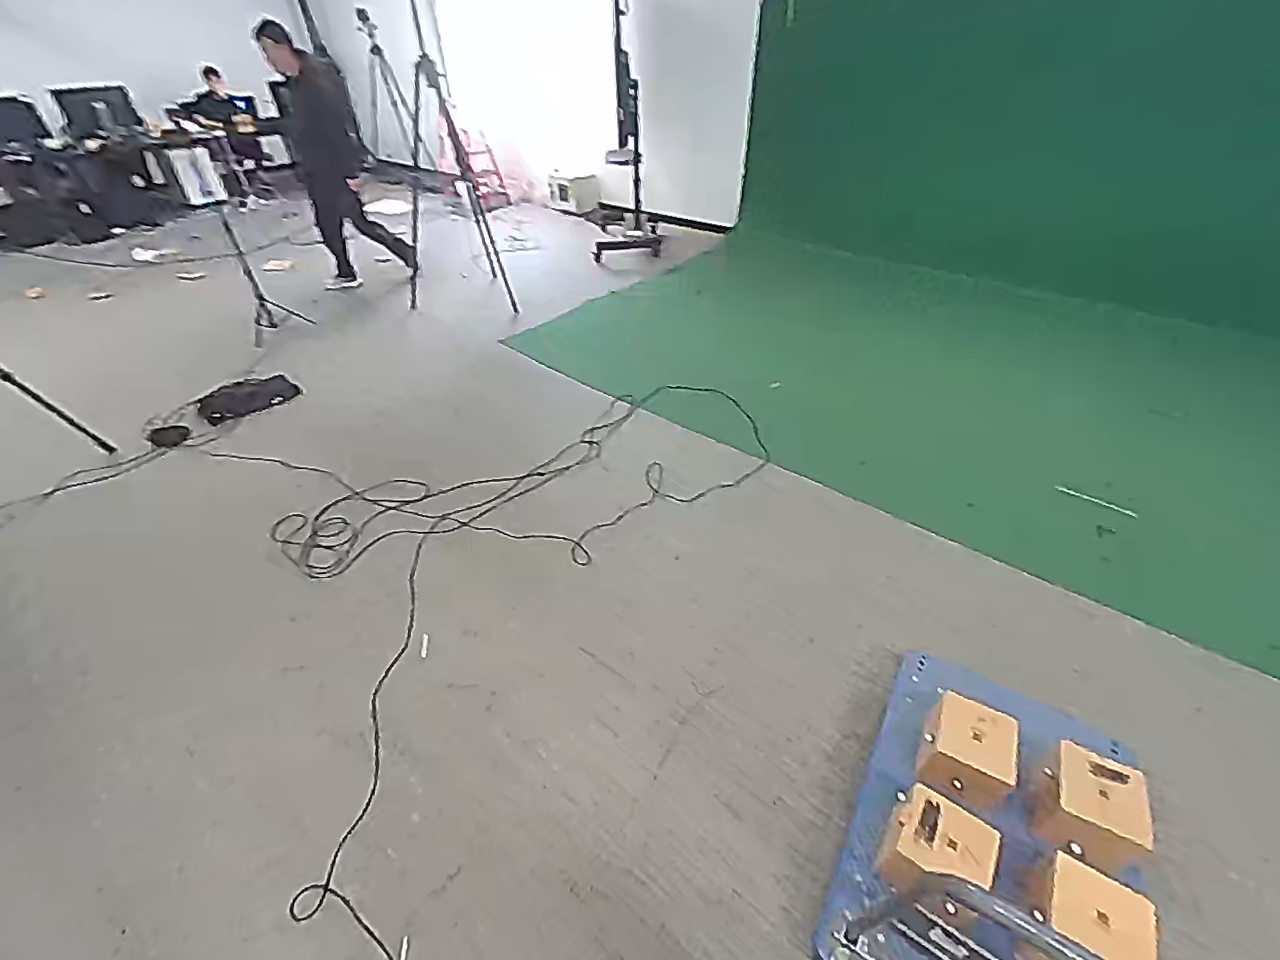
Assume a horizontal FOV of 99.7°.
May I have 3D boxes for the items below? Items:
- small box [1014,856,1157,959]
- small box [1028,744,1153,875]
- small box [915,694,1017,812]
[{"bbox_3d":[0.877,0.907,1.075,0.168,0.176,0.179,24,47,26],"label":"small box"},{"bbox_3d":[1.025,0.758,1.245,0.168,0.176,0.179,19,46,23],"label":"small box"},{"bbox_3d":[0.804,0.679,1.341,0.168,0.176,0.179,21,45,22],"label":"small box"}]
